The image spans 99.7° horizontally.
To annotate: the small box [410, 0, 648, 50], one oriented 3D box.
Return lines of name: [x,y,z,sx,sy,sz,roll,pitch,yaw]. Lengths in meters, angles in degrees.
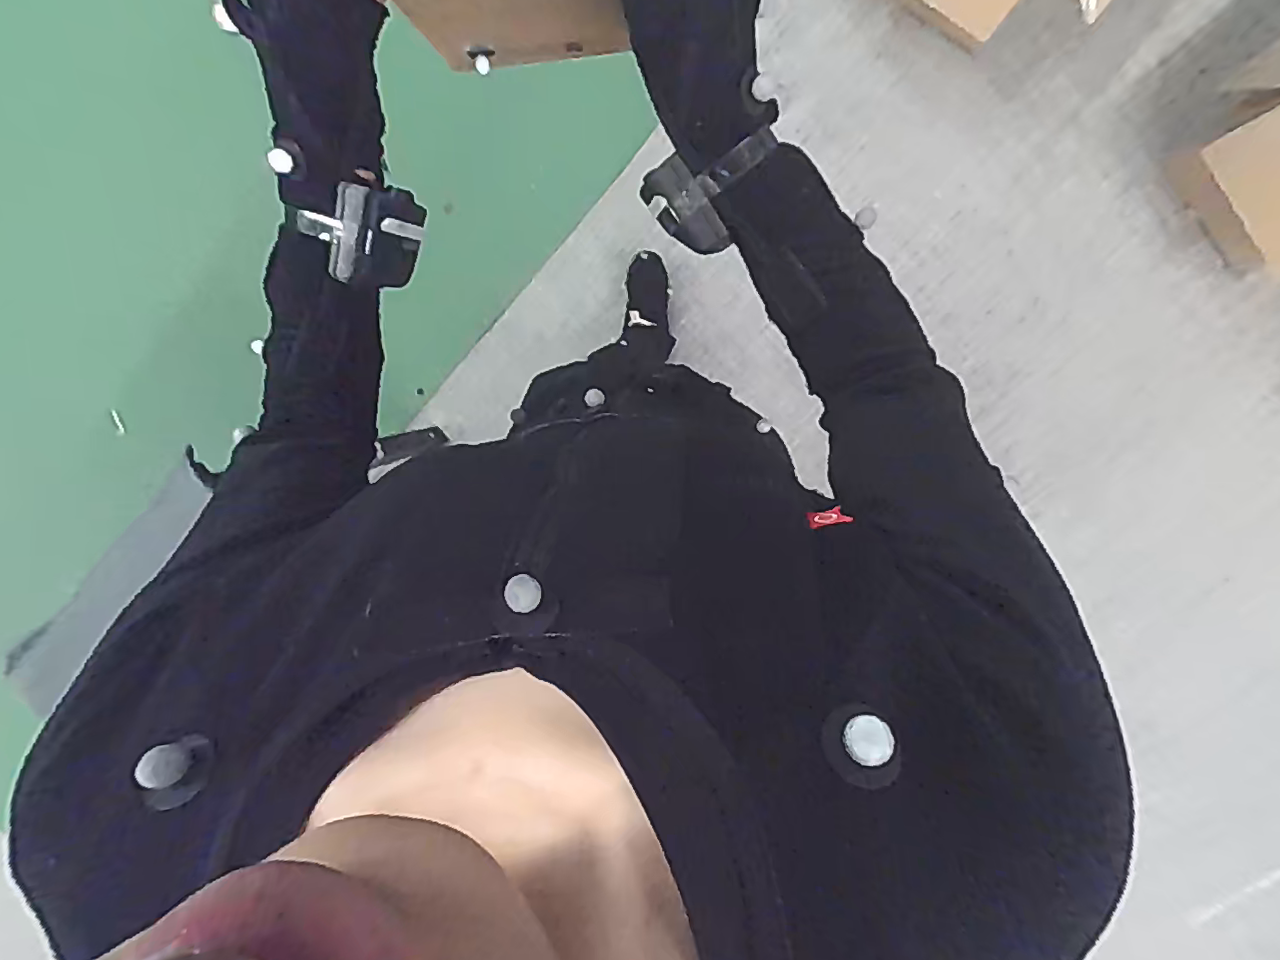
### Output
small box: [-0.083,-0.408,0.340,0.168,0.176,0.179,-3,104,4]
